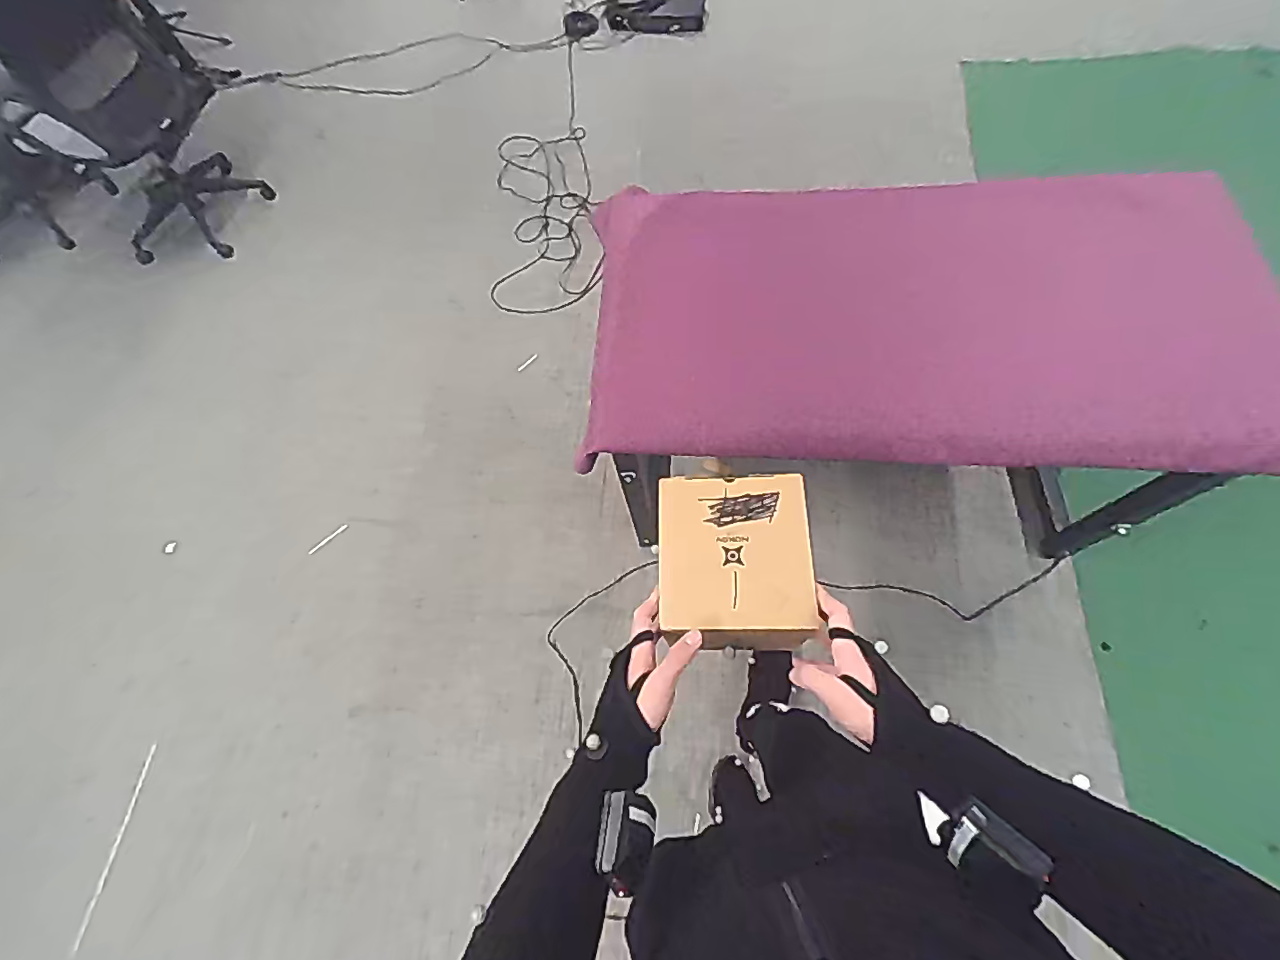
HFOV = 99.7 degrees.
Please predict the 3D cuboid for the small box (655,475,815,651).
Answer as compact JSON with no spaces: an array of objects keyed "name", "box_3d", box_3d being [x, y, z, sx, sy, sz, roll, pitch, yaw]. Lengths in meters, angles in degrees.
[{"name":"small box","box_3d":[0.109,0.107,0.663,0.168,0.176,0.179,-2,66,7]}]
